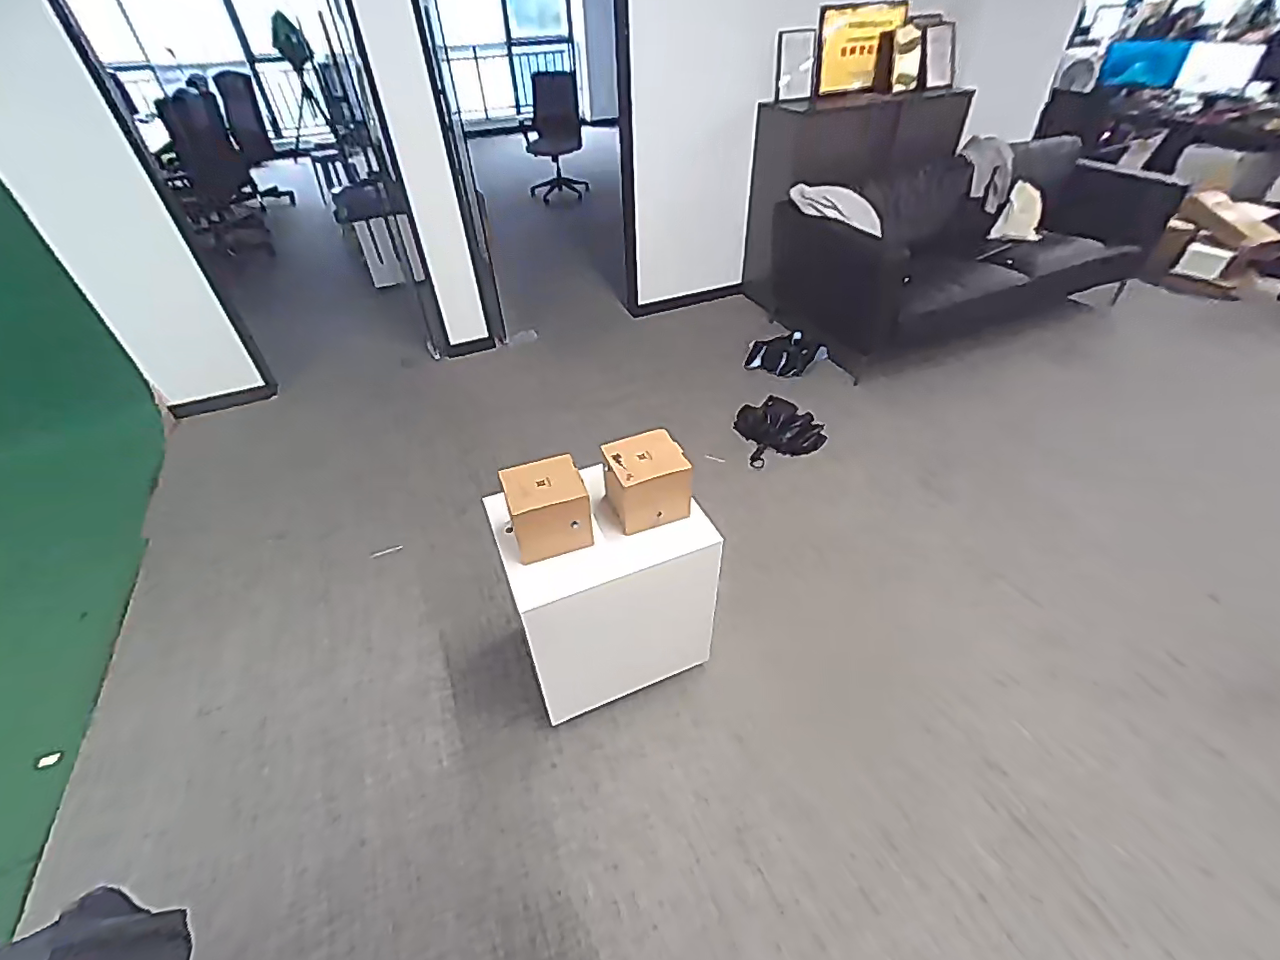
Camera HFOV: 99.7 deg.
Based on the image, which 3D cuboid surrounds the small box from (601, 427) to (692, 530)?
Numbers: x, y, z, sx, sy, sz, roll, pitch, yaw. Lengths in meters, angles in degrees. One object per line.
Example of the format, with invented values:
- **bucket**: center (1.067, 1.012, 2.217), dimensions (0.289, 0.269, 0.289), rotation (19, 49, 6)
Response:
- **small box**: center (0.011, -0.003, 1.336), dimensions (0.179, 0.176, 0.168), rotation (-16, 44, -16)

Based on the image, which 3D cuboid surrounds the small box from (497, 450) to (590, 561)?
- **small box**: center (-0.221, 0.060, 1.271), dimensions (0.179, 0.176, 0.168), rotation (-17, 43, -16)
